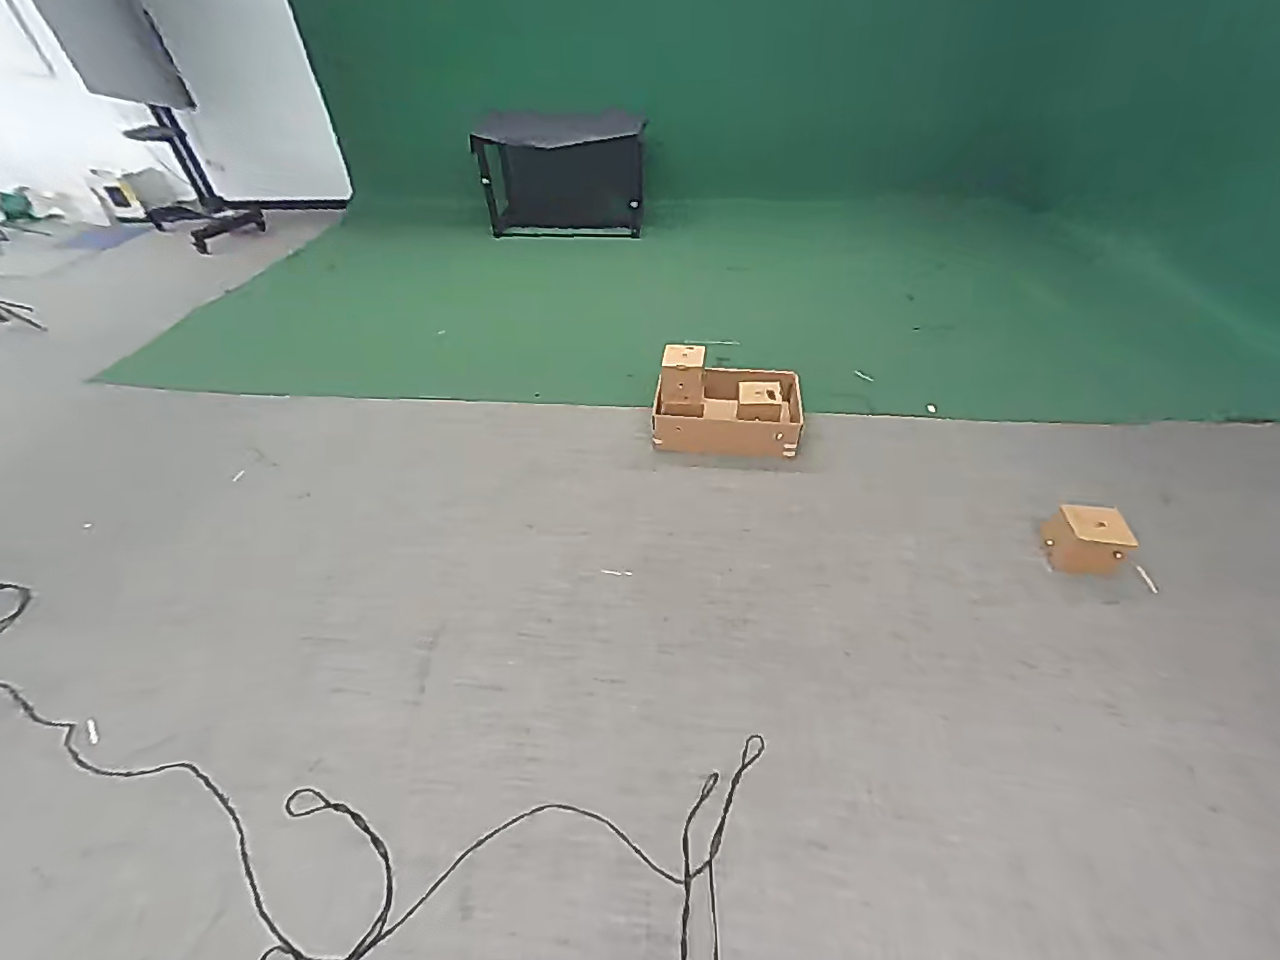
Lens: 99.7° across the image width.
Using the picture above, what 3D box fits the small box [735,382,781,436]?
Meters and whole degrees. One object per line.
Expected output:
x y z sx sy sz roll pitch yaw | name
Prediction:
0.504 -0.306 2.331 0.179 0.176 0.168 3 44 7 | small box

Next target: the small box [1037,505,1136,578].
1.486 0.210 1.812 0.179 0.176 0.168 7 43 9 | small box

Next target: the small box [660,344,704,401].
0.178 -0.446 2.254 0.168 0.176 0.179 5 44 8 | small box
